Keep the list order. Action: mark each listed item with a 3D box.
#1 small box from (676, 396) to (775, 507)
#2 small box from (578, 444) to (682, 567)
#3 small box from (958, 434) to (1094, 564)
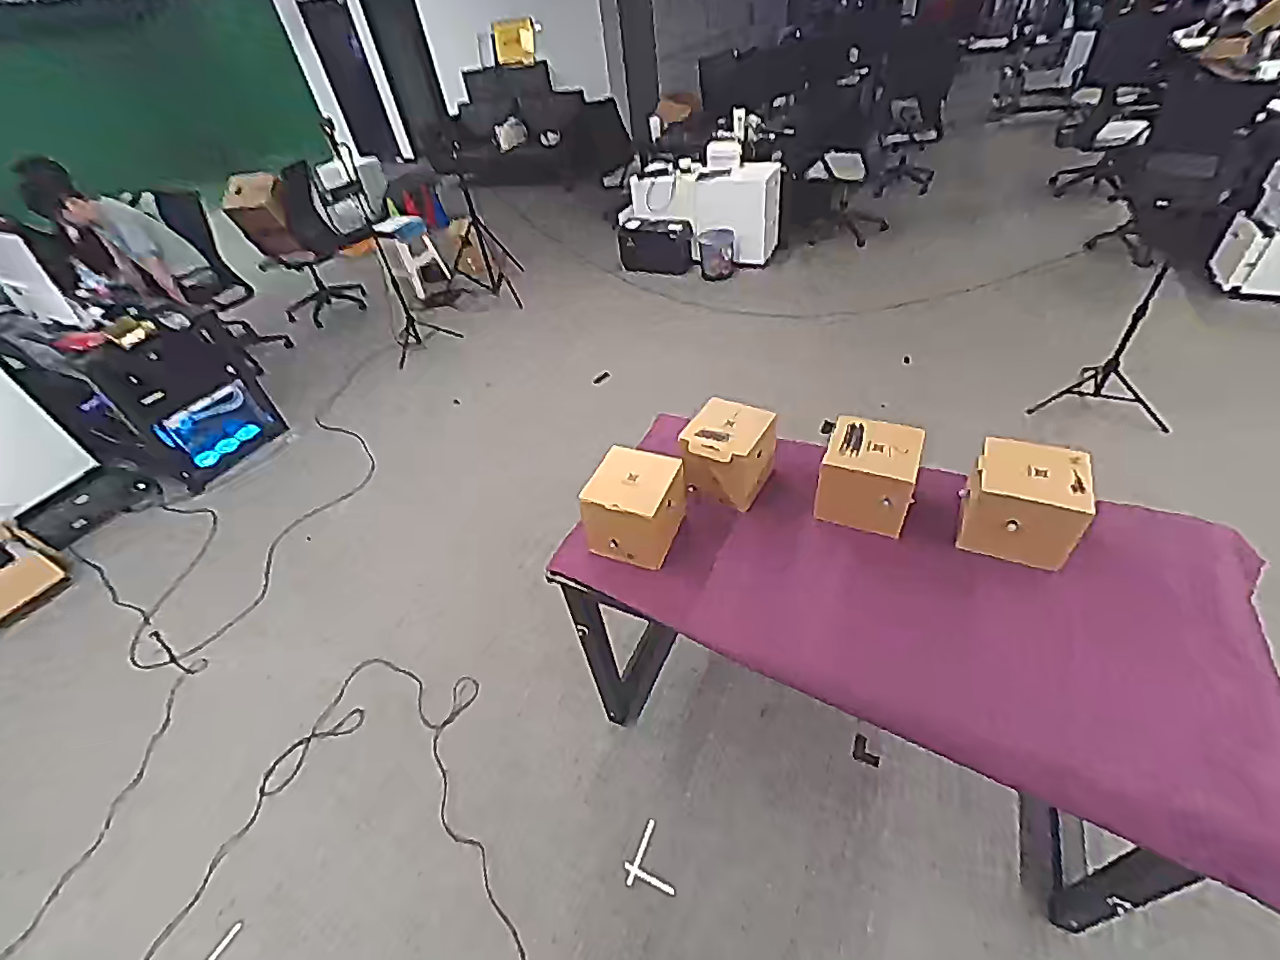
[{"bbox_3d":[0.200,-0.065,1.248,0.168,0.176,0.179,19,50,27],"label":"small box"},{"bbox_3d":[-0.014,0.054,1.154,0.168,0.176,0.179,12,47,19],"label":"small box"},{"bbox_3d":[0.733,0.037,1.043,0.179,0.176,0.168,14,49,24],"label":"small box"}]
